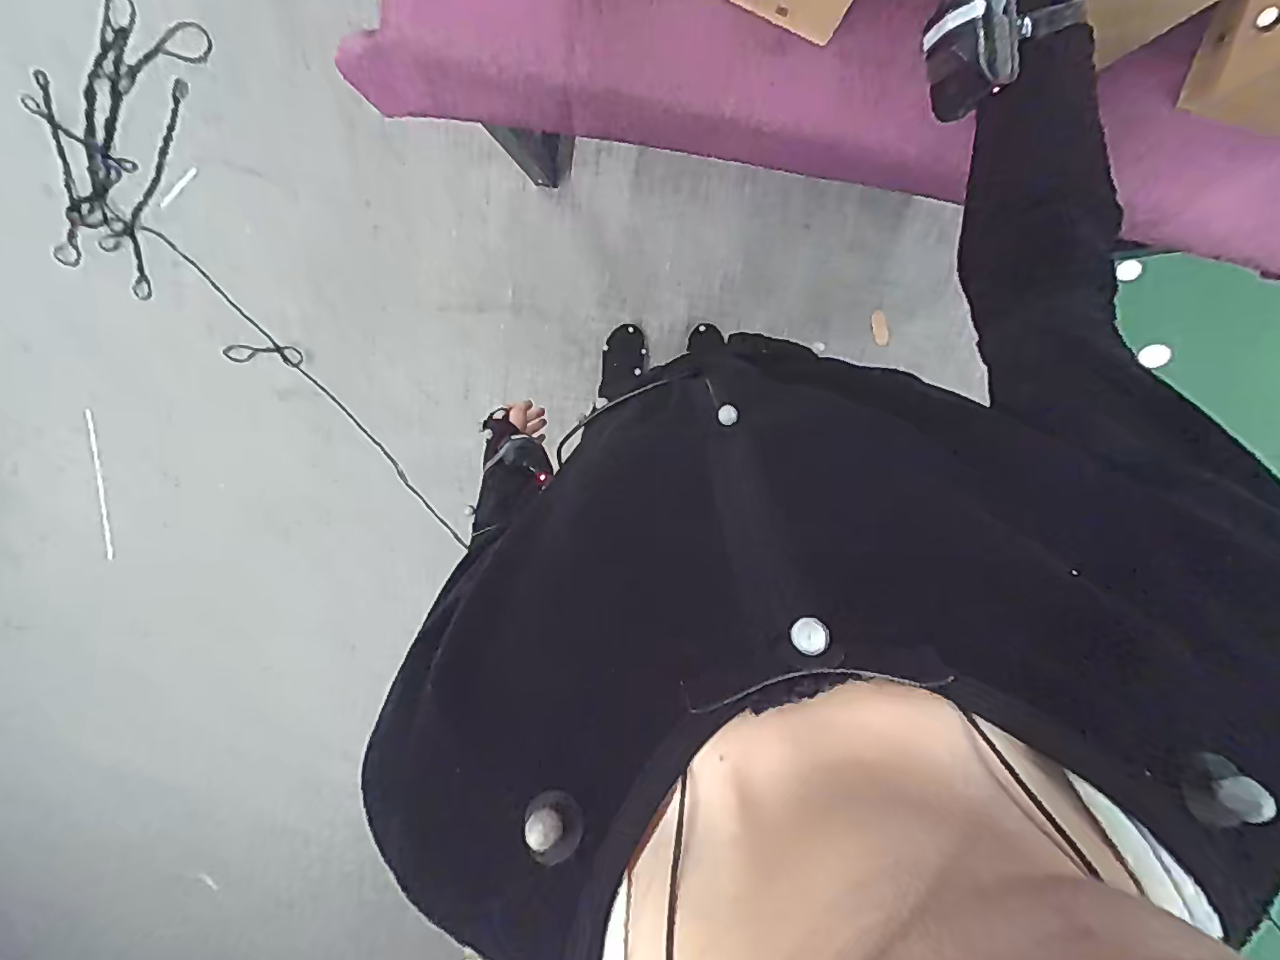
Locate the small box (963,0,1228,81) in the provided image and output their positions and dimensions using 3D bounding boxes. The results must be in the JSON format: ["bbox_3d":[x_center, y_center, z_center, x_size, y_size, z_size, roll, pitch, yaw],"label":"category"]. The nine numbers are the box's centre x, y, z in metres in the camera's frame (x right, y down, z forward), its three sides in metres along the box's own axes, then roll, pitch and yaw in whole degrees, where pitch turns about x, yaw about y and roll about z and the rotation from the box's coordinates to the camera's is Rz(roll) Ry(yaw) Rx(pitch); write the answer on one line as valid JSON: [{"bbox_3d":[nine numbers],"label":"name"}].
[{"bbox_3d":[0.454,-0.536,0.529,0.168,0.176,0.179,7,106,1],"label":"small box"}]

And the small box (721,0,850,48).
[{"bbox_3d":[0.167,-0.581,0.529,0.168,0.176,0.179,23,104,-4],"label":"small box"}]
